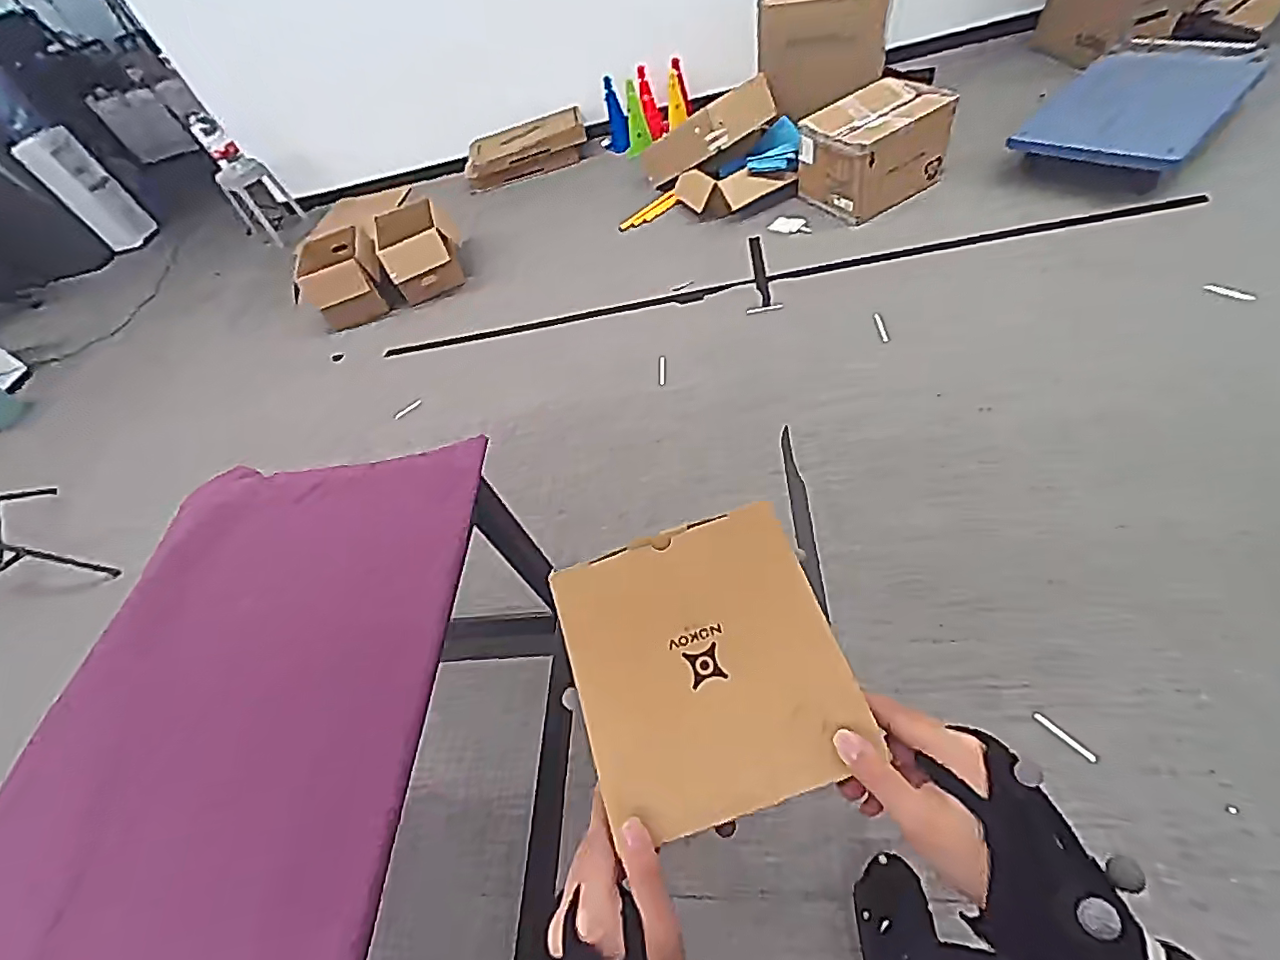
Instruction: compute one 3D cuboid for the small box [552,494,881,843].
[{"bbox_3d":[0.050,0.142,0.416,0.168,0.176,0.179,-20,61,-1],"label":"small box"}]
